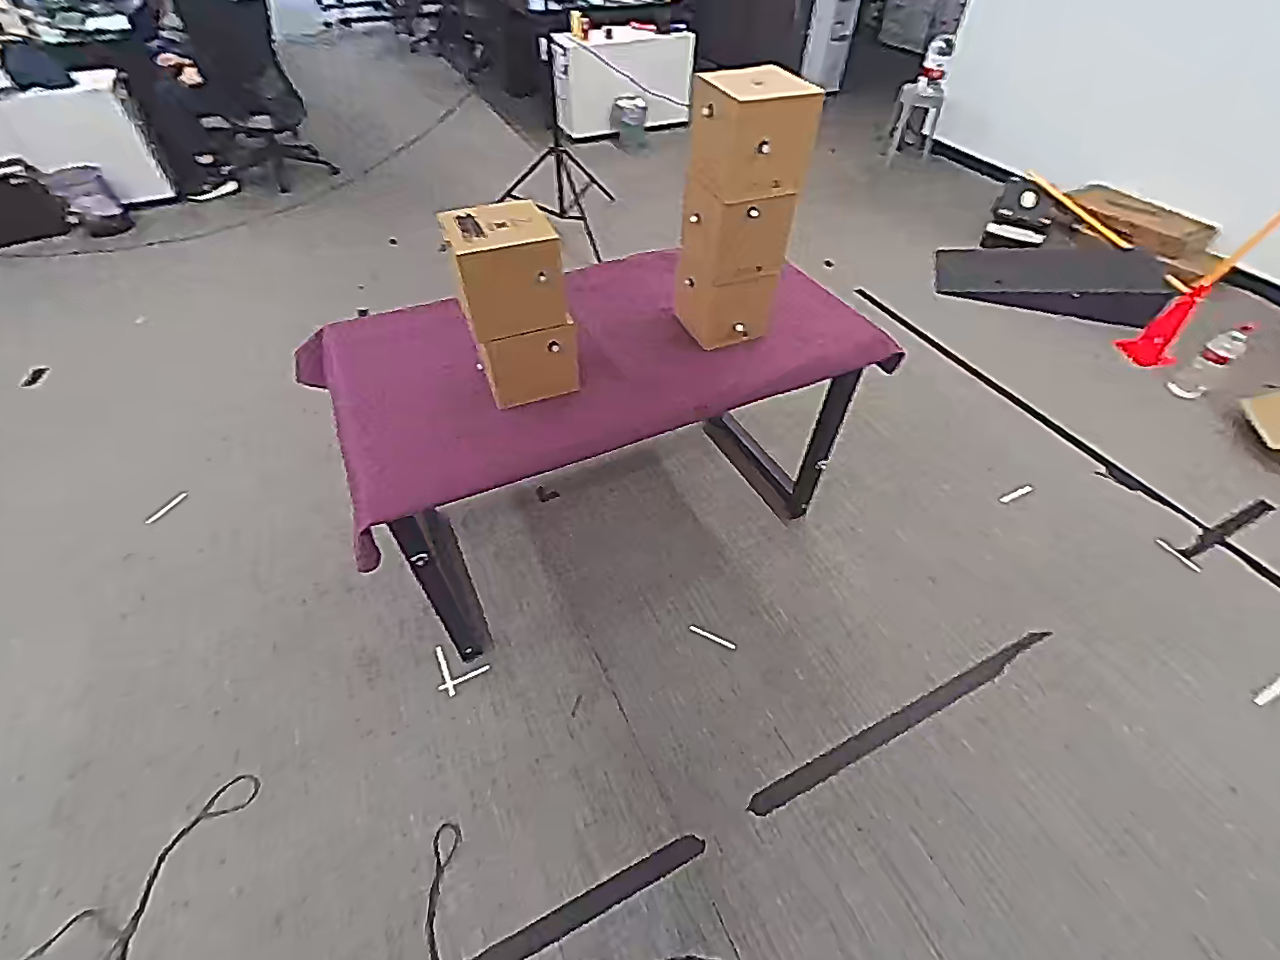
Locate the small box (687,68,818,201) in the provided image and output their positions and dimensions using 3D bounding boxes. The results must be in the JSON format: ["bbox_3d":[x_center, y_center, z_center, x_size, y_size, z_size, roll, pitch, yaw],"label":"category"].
[{"bbox_3d":[0.198,-0.636,1.007,0.168,0.176,0.179,-17,51,-14],"label":"small box"}]

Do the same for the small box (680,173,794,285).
[{"bbox_3d":[0.192,-0.534,1.135,0.168,0.176,0.179,-17,51,-14],"label":"small box"}]

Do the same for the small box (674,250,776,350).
[{"bbox_3d":[0.188,-0.430,1.261,0.168,0.176,0.179,-18,52,-16],"label":"small box"}]

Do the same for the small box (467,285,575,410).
[{"bbox_3d":[-0.238,-0.271,1.115,0.179,0.176,0.168,-18,51,-15],"label":"small box"}]
